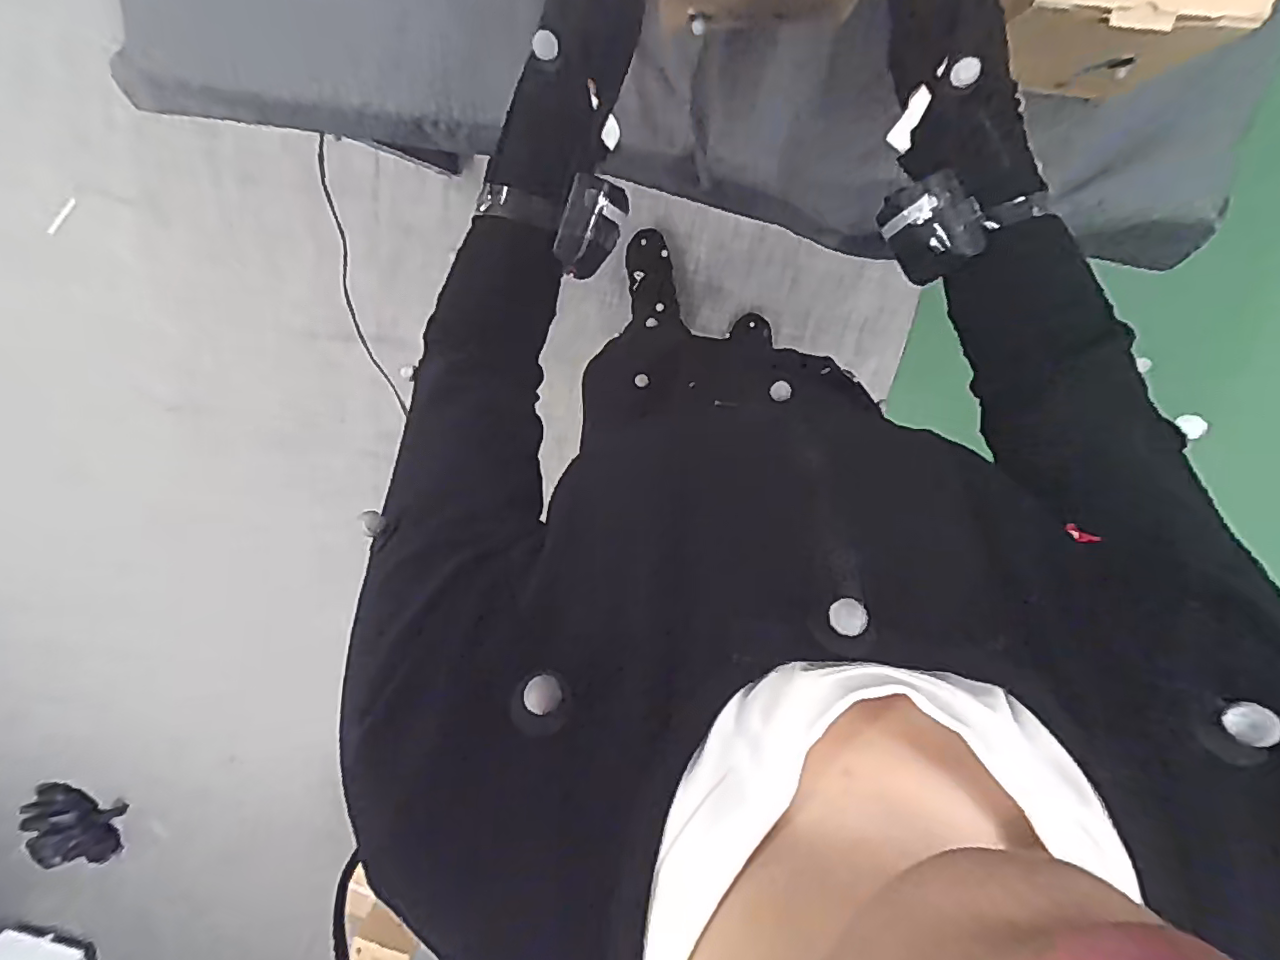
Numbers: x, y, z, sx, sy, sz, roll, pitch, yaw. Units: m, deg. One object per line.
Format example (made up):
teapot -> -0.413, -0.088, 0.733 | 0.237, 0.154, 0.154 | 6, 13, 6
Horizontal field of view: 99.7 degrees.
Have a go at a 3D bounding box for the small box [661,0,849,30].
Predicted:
small box -> 0.094, -0.464, 0.395 | 0.168, 0.176, 0.179 | 1, 110, 5

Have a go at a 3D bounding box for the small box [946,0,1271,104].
small box -> 0.383, -0.437, 0.443 | 0.168, 0.176, 0.179 | 7, 109, 3

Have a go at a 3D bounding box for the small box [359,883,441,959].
small box -> -0.752, 1.418, 1.701 | 0.179, 0.176, 0.168 | 18, 110, 0
